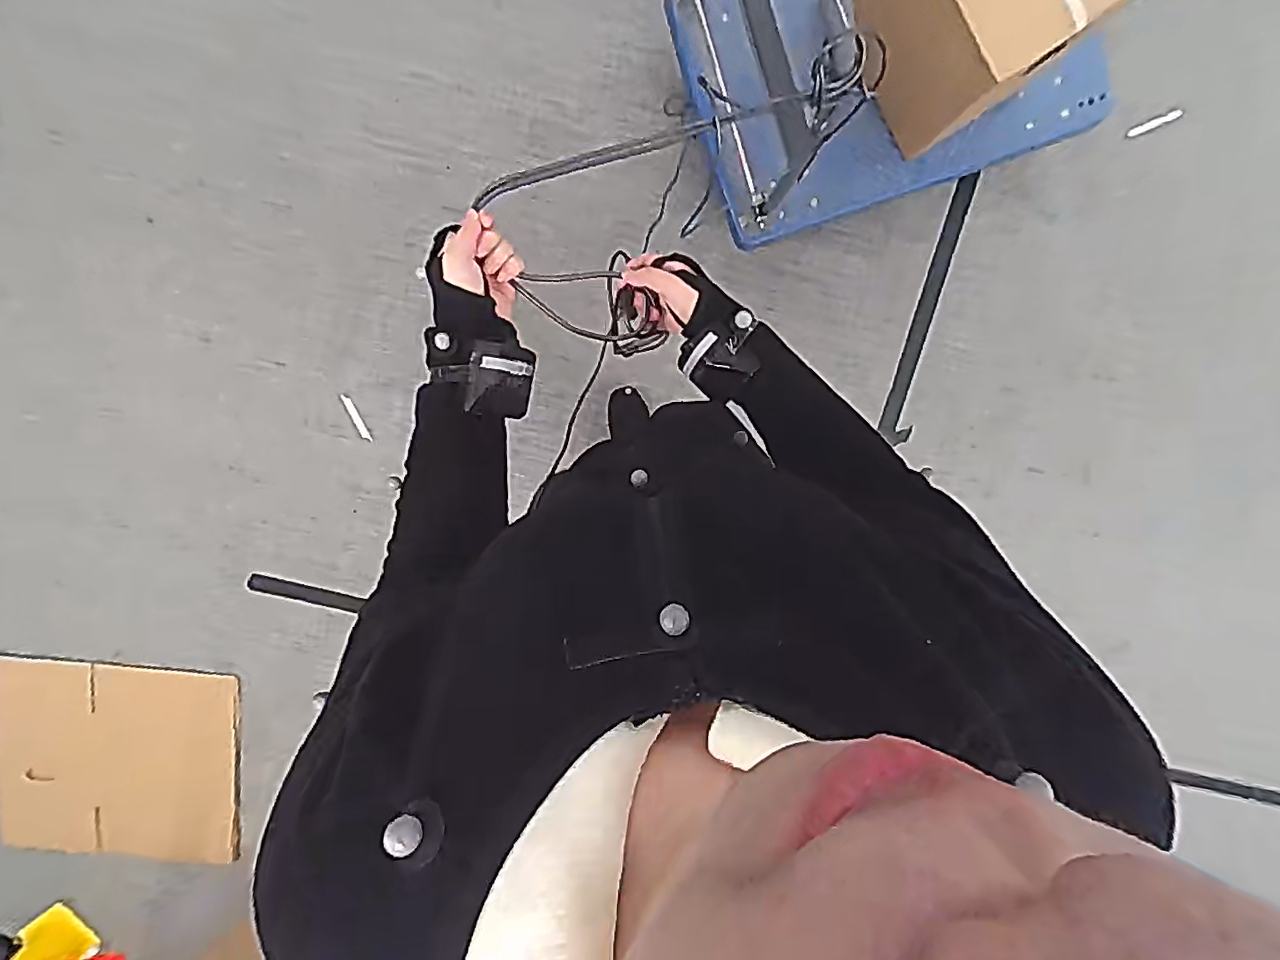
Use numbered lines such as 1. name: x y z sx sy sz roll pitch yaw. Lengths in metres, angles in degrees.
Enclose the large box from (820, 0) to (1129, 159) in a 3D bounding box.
1. large box: 0.615 -0.934 1.025 0.320 0.320 0.408 -33 98 4
